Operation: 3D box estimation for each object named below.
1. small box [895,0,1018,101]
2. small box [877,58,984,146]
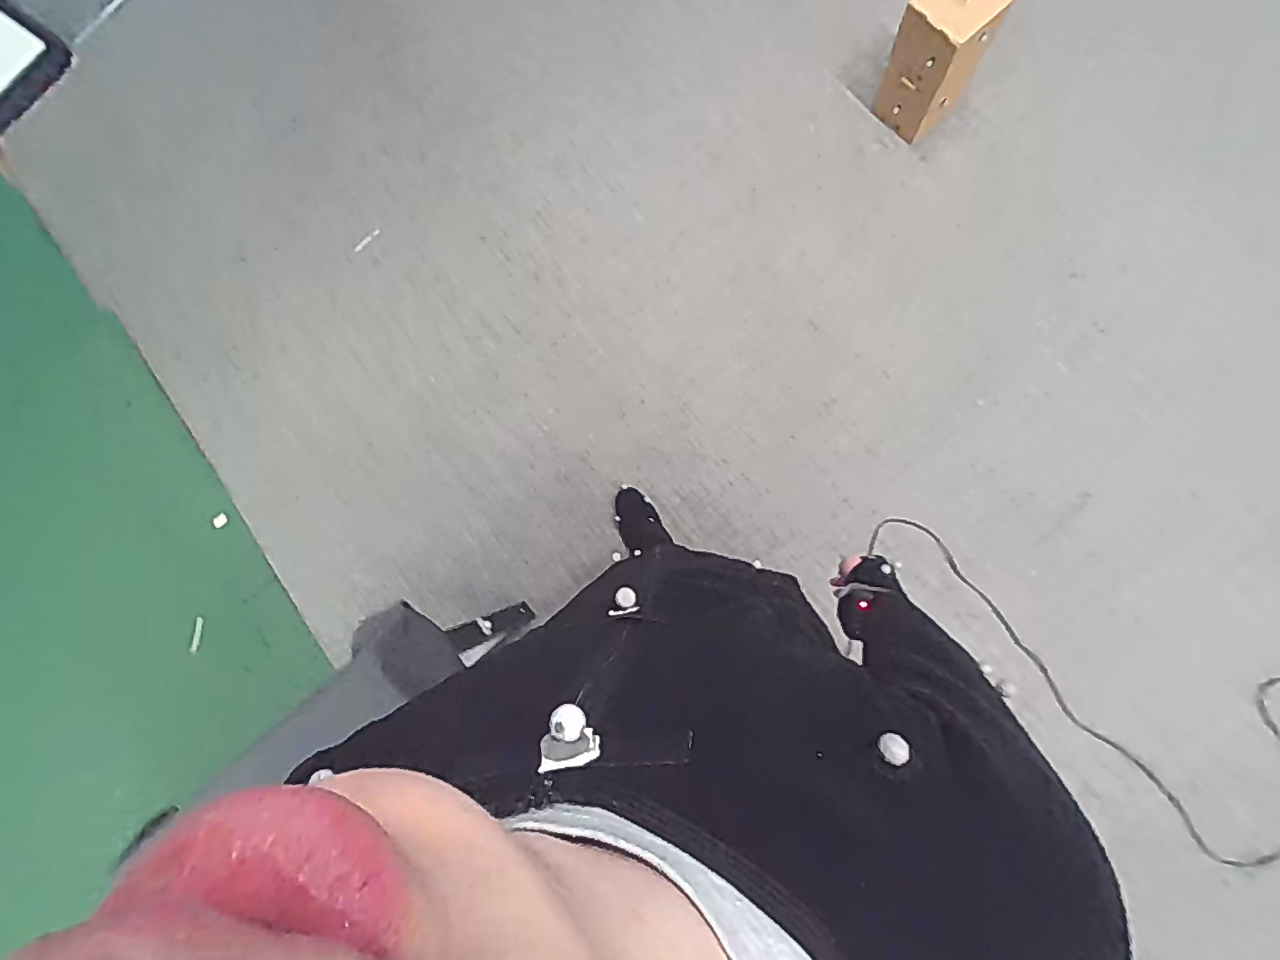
[{"bbox_3d":[0.745,-1.073,1.300,0.179,0.176,0.168,-40,81,2],"label":"small box"},{"bbox_3d":[0.769,-1.058,1.460,0.179,0.176,0.168,-41,80,4],"label":"small box"}]
